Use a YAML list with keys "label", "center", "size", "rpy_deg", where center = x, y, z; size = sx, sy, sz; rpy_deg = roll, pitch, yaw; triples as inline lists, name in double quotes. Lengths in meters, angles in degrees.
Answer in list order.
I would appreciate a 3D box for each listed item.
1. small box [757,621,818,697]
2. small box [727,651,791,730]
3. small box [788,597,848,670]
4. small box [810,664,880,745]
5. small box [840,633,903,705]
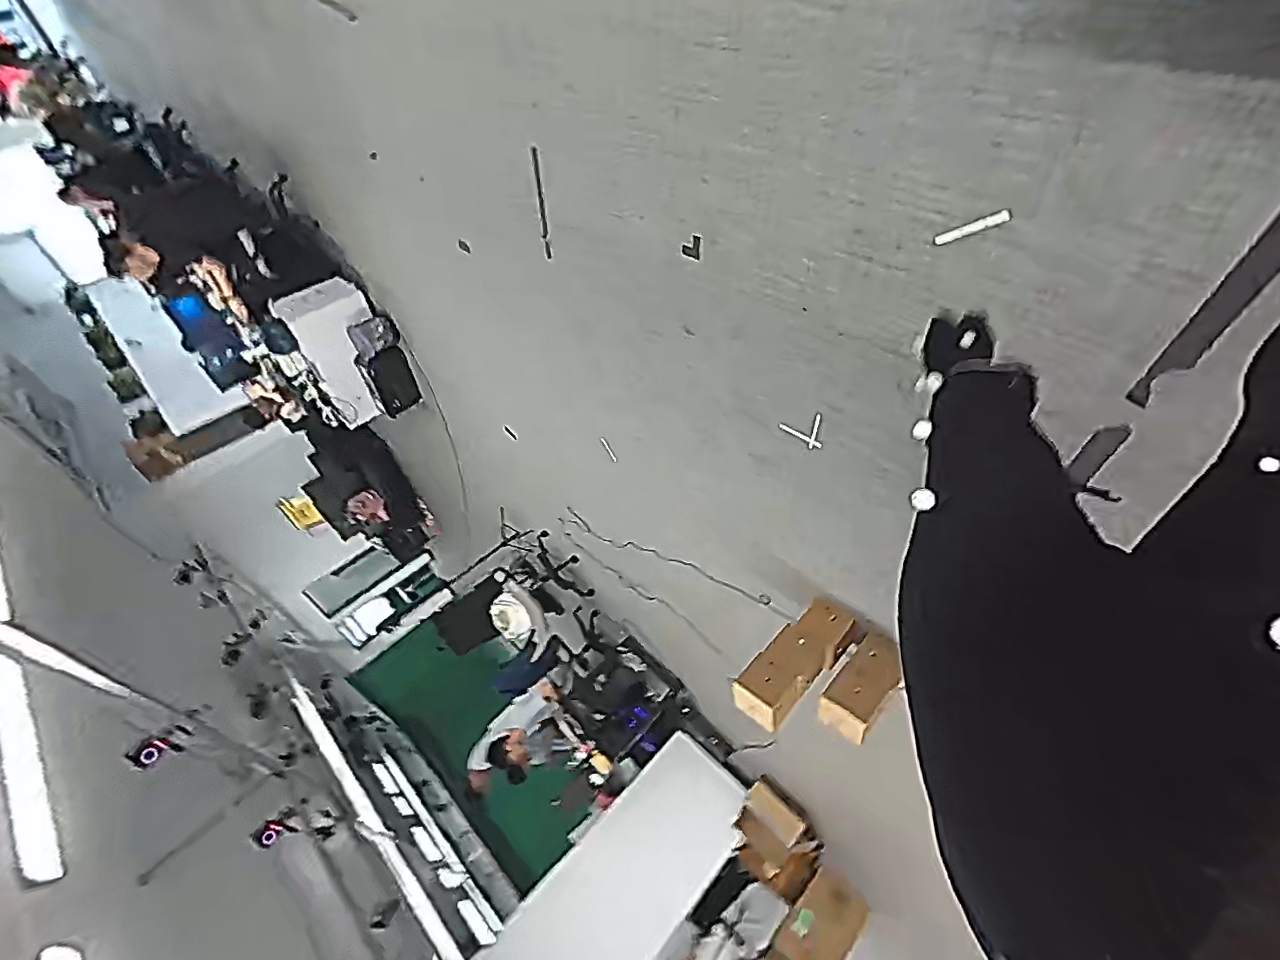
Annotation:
- label: "small box"
  center: [0.559, 0.678, 2.055]
  size: [0.168, 0.176, 0.179]
  rpy_deg: [30, 144, 36]
- label: "small box"
  center: [0.439, 0.768, 1.986]
  size: [0.168, 0.176, 0.179]
  rpy_deg: [28, 143, 38]
- label: "small box"
  center: [0.692, 0.598, 2.115]
  size: [0.168, 0.176, 0.179]
  rpy_deg: [29, 144, 36]
- label: "small box"
  center: [0.733, 0.796, 1.934]
  size: [0.168, 0.176, 0.179]
  rpy_deg: [30, 145, 36]
- label: "small box"
  center: [0.848, 0.703, 2.006]
  size: [0.168, 0.176, 0.179]
  rpy_deg: [33, 147, 33]
